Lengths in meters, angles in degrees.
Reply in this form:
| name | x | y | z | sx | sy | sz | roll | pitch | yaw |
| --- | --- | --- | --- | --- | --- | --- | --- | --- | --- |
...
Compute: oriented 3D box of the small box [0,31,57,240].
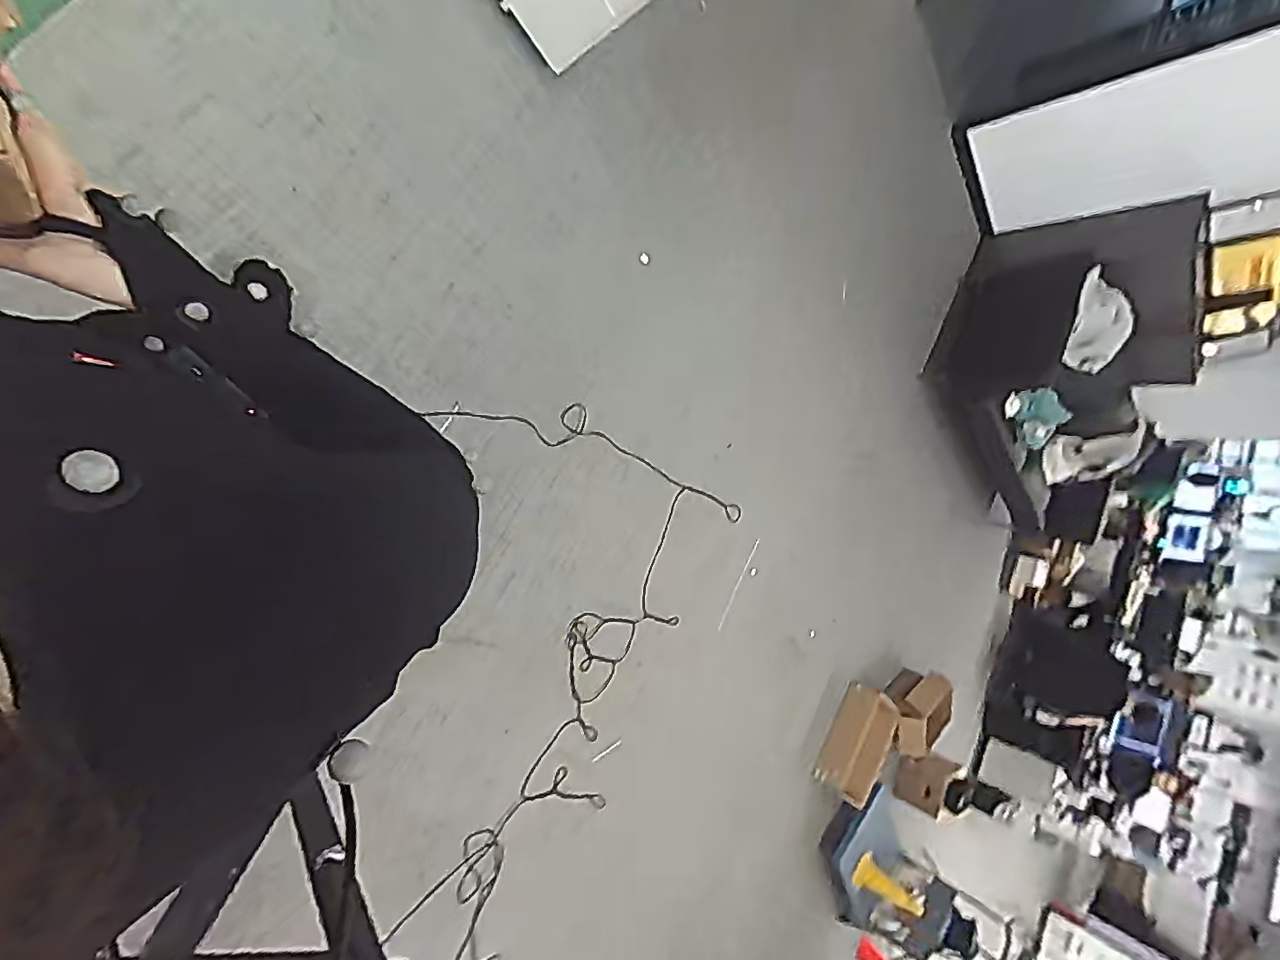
| name | x | y | z | sx | sy | sz | roll | pitch | yaw |
| --- | --- | --- | --- | --- | --- | --- | --- | --- | --- |
| small box | -0.420 | -0.219 | 0.246 | 0.179 | 0.176 | 0.168 | -18 | 106 | -41 |
